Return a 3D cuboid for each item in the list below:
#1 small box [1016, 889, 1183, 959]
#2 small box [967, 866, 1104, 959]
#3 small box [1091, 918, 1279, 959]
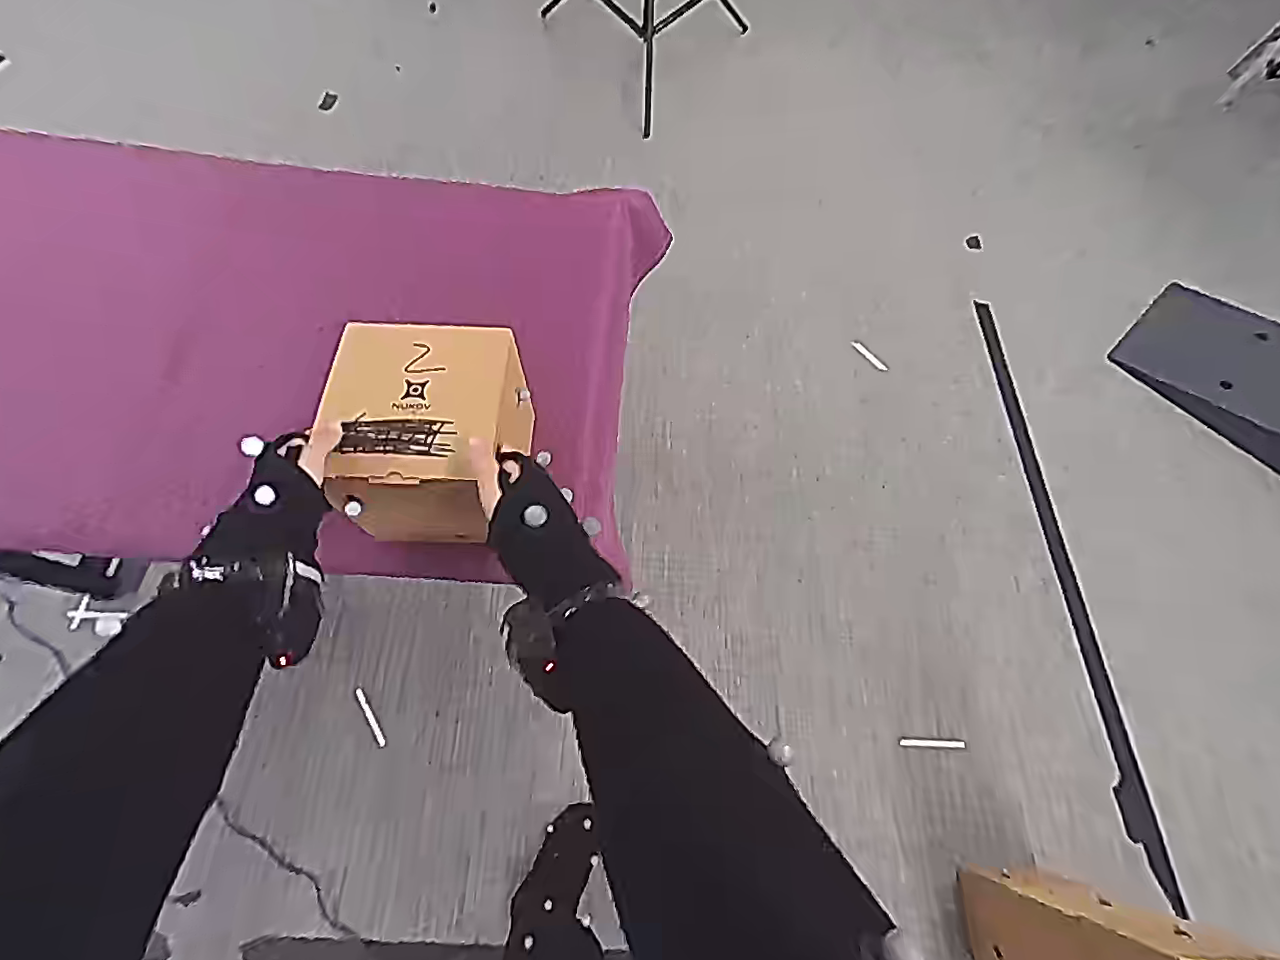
[{"bbox_3d":[0.756,0.790,0.877,0.168,0.176,0.179,3,67,-2],"label":"small box"},{"bbox_3d":[0.756,0.854,1.027,0.179,0.176,0.168,2,67,-3],"label":"small box"},{"bbox_3d":[0.764,0.722,0.727,0.168,0.176,0.179,3,67,-1],"label":"small box"}]
